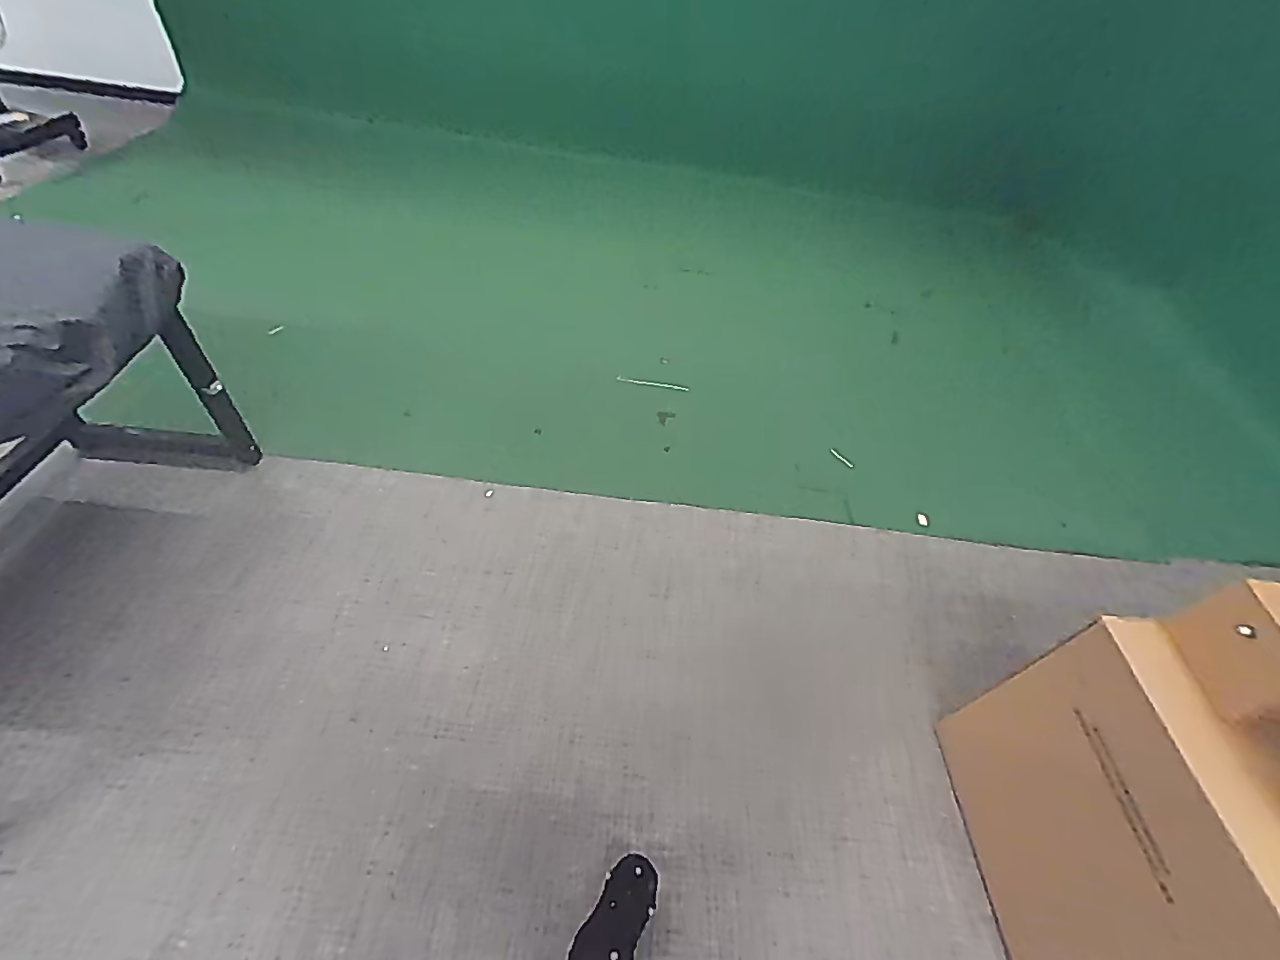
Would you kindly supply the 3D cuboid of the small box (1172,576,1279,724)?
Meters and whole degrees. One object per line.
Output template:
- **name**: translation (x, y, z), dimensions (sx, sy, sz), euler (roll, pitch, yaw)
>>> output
- **small box**: translation (1.051, 0.281, 0.885), dimensions (0.168, 0.176, 0.179), euler (6, 48, 1)
